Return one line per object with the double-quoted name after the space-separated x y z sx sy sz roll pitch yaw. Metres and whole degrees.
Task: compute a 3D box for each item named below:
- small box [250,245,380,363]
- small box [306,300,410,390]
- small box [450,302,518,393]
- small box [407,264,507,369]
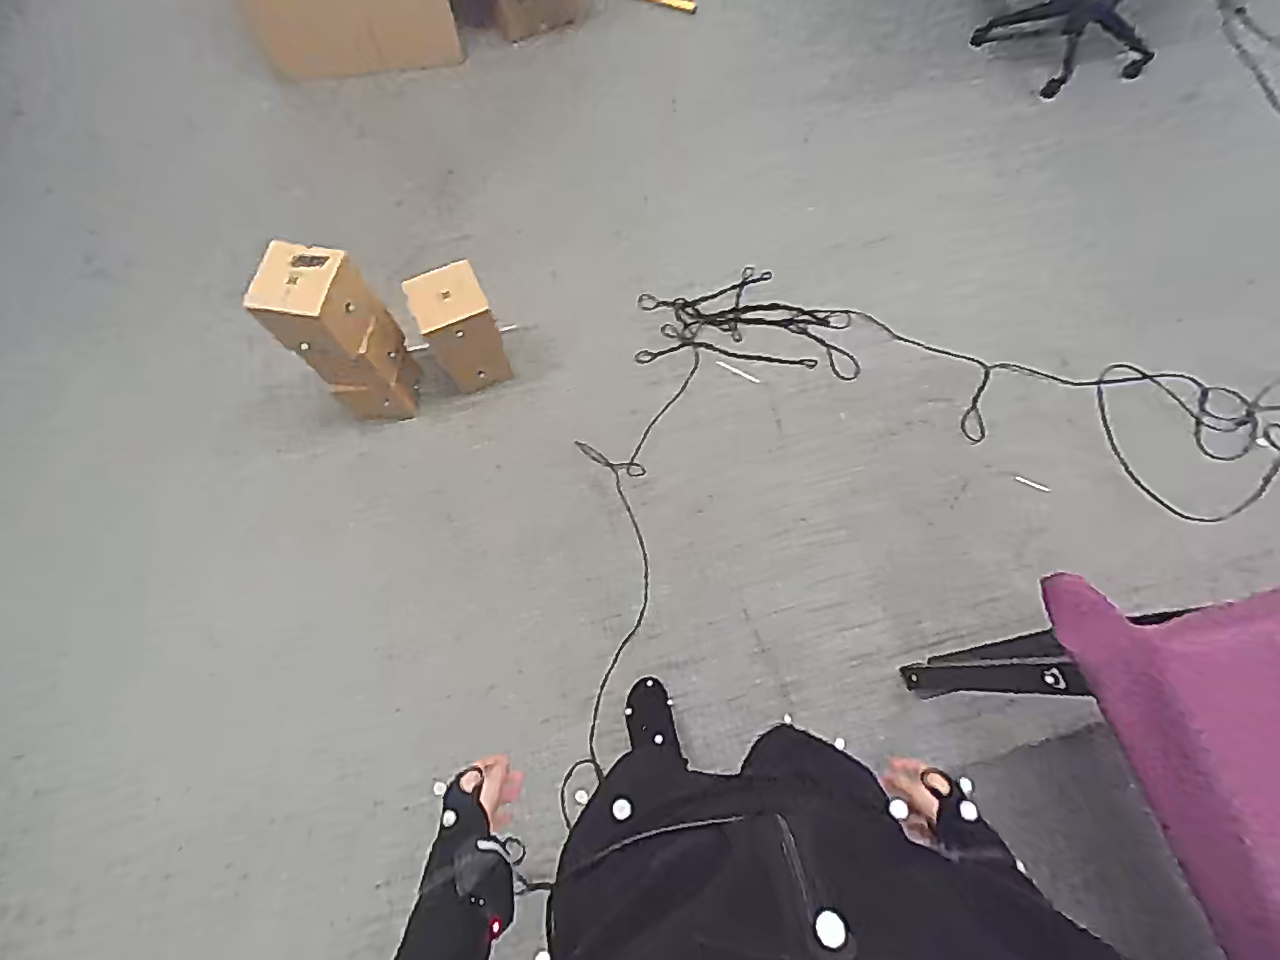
-0.718 -0.392 1.222 0.168 0.176 0.179 8 70 2 "small box"
-0.719 -0.342 1.378 0.179 0.176 0.168 4 69 0 "small box"
-0.465 -0.372 1.560 0.168 0.176 0.179 -20 71 -7 "small box"
-0.469 -0.415 1.403 0.179 0.176 0.168 -24 72 -8 "small box"
